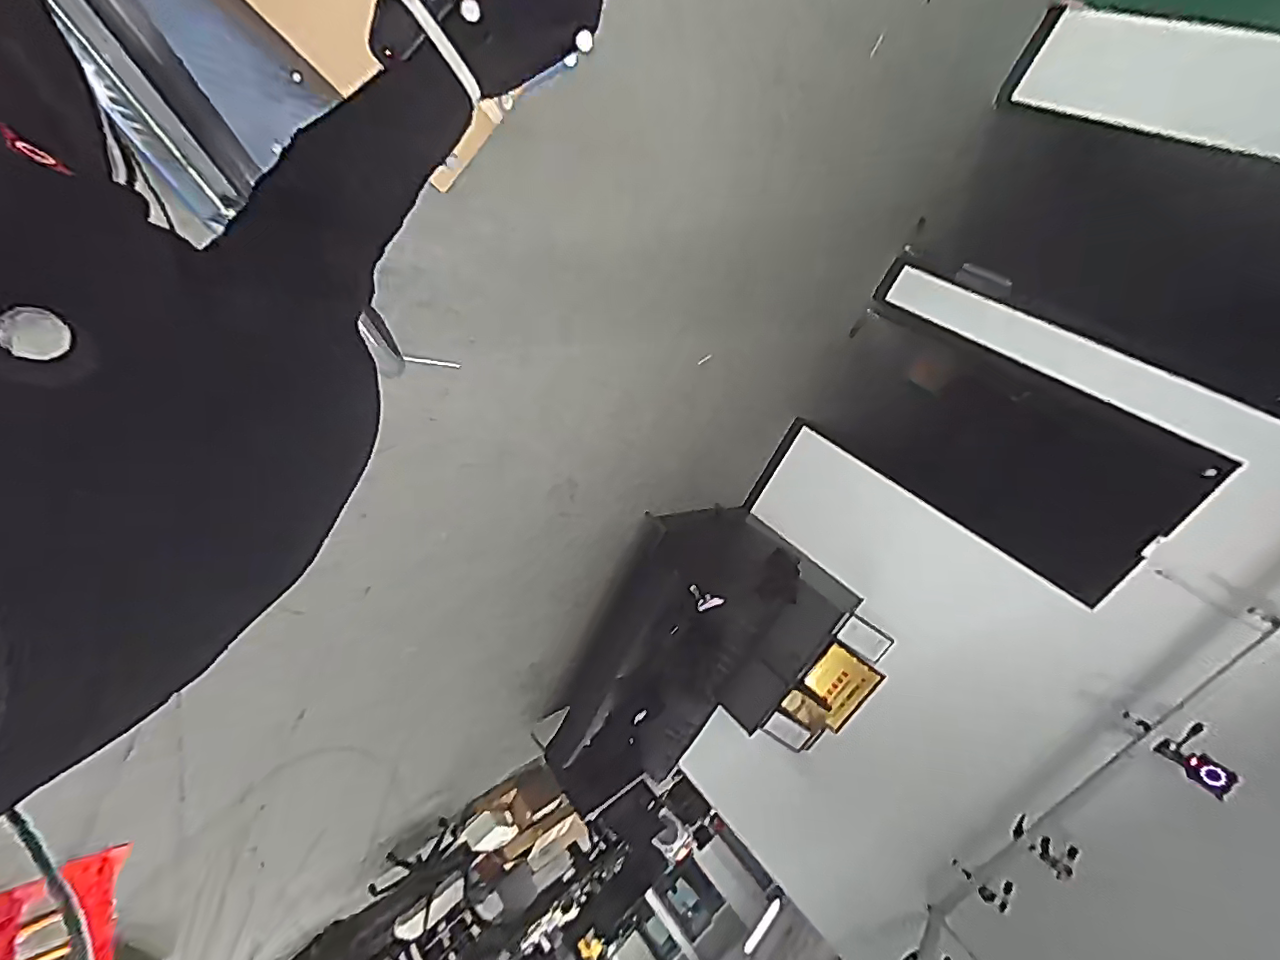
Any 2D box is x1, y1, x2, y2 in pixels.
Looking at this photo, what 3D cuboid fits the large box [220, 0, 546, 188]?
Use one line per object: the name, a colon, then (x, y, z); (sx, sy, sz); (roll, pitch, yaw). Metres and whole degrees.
large box: (-0.435, -0.763, 0.845); (0.320, 0.320, 0.408); (-51, 149, 4)
